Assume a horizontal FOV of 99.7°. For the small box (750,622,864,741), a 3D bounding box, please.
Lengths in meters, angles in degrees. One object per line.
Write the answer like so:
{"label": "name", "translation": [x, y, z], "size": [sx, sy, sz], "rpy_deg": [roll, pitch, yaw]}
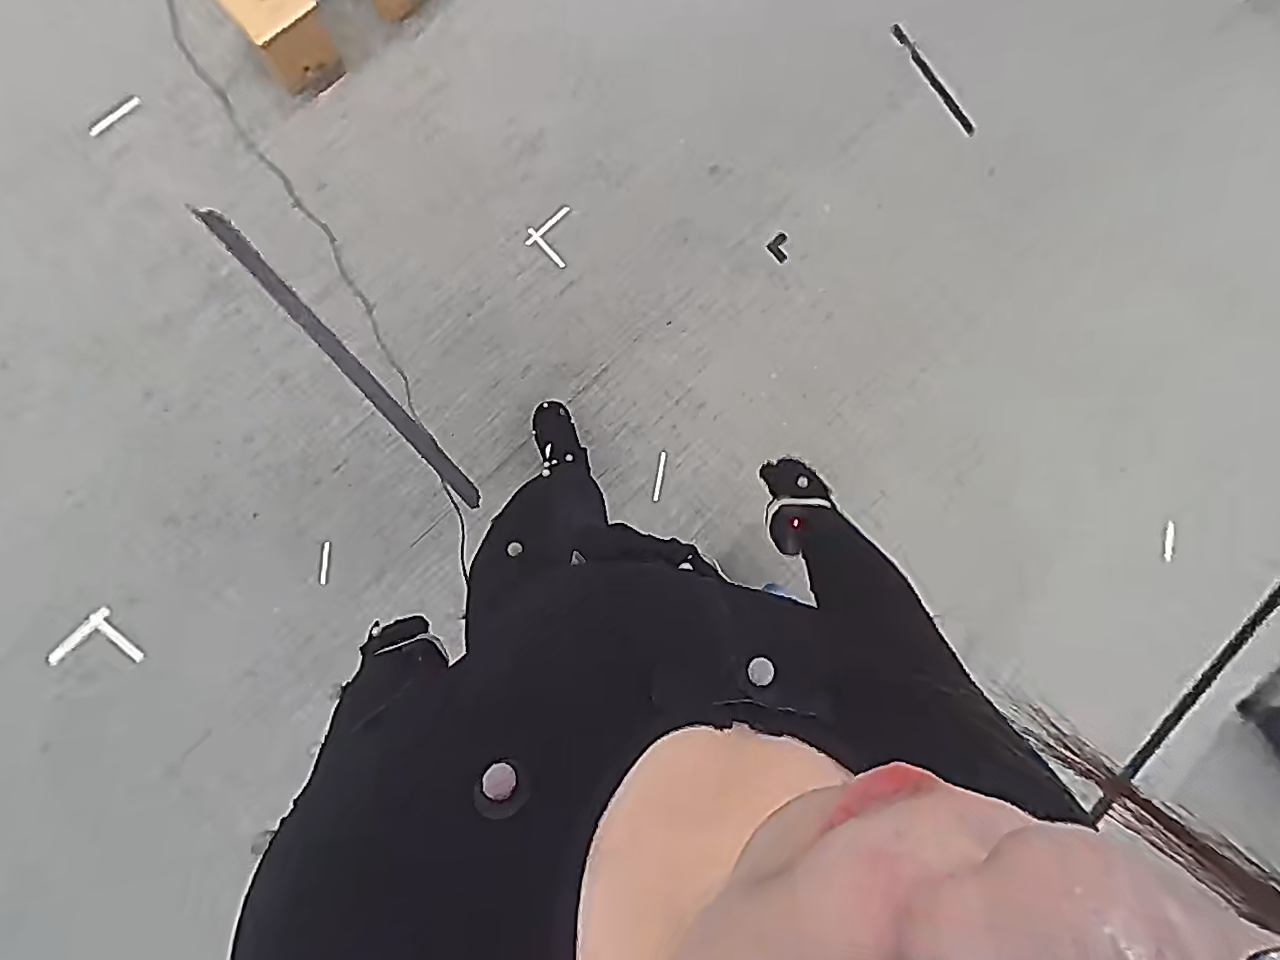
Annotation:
{"label": "small box", "translation": [0.383, 0.471, 1.290], "size": [0.179, 0.176, 0.168], "rpy_deg": [-39, 95, -7]}

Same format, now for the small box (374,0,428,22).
{"label": "small box", "translation": [-0.637, -1.321, 1.352], "size": [0.168, 0.176, 0.179], "rpy_deg": [-45, 95, -6]}

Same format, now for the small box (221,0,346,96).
{"label": "small box", "translation": [-0.868, -1.102, 1.319], "size": [0.168, 0.176, 0.179], "rpy_deg": [-41, 95, -6]}
